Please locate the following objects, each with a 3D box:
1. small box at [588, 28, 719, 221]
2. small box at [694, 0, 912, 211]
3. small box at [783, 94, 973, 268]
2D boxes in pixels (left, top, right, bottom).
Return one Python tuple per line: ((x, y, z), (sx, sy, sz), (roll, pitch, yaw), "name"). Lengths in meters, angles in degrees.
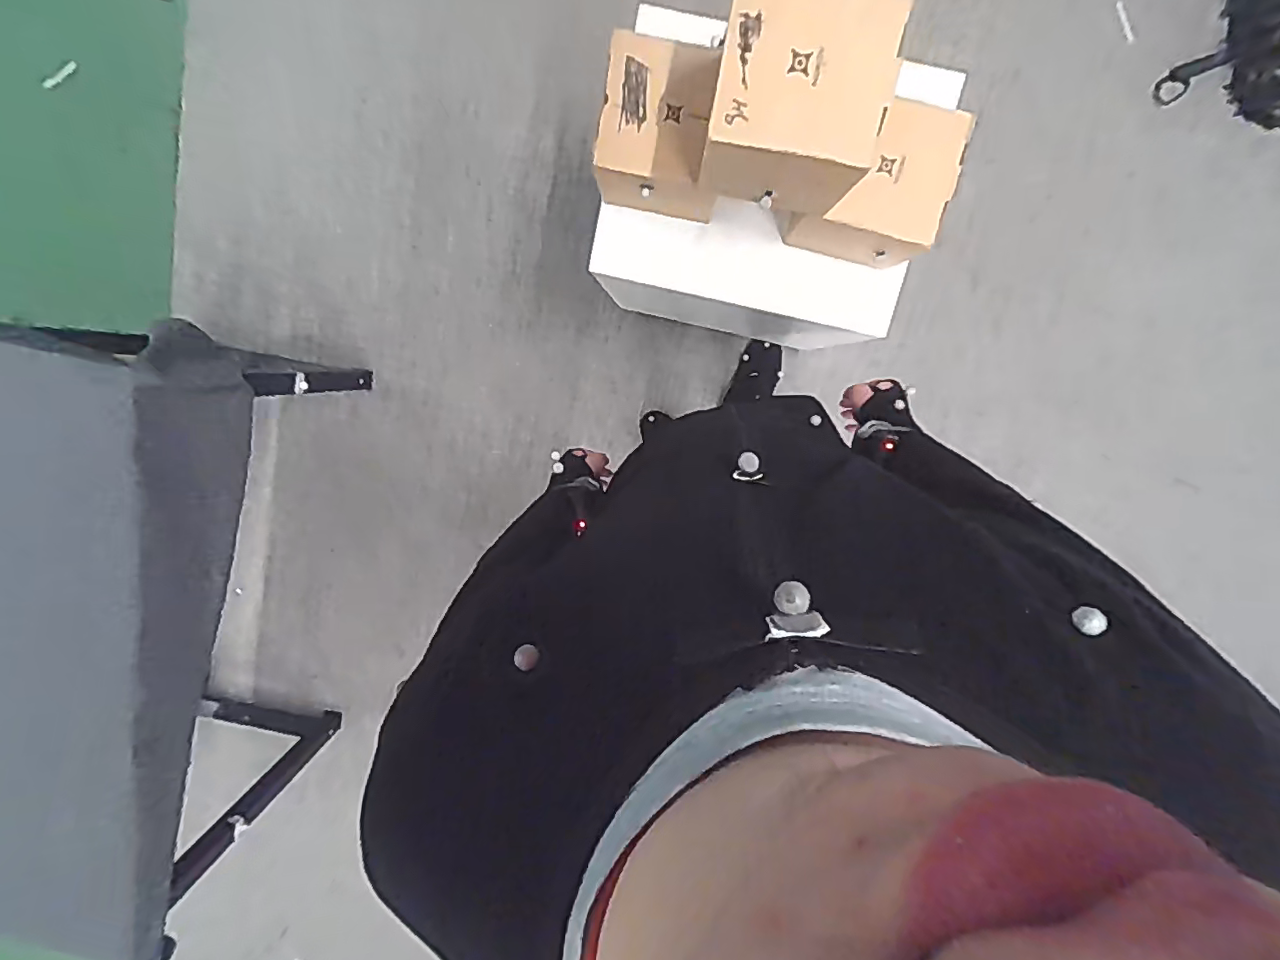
((0.034, -0.491, 0.775), (0.179, 0.176, 0.168), (12, 102, -1), "small box")
((0.167, -0.425, 0.616), (0.179, 0.176, 0.168), (11, 101, 0), "small box")
((0.323, -0.417, 0.775), (0.179, 0.176, 0.168), (15, 101, 2), "small box")
